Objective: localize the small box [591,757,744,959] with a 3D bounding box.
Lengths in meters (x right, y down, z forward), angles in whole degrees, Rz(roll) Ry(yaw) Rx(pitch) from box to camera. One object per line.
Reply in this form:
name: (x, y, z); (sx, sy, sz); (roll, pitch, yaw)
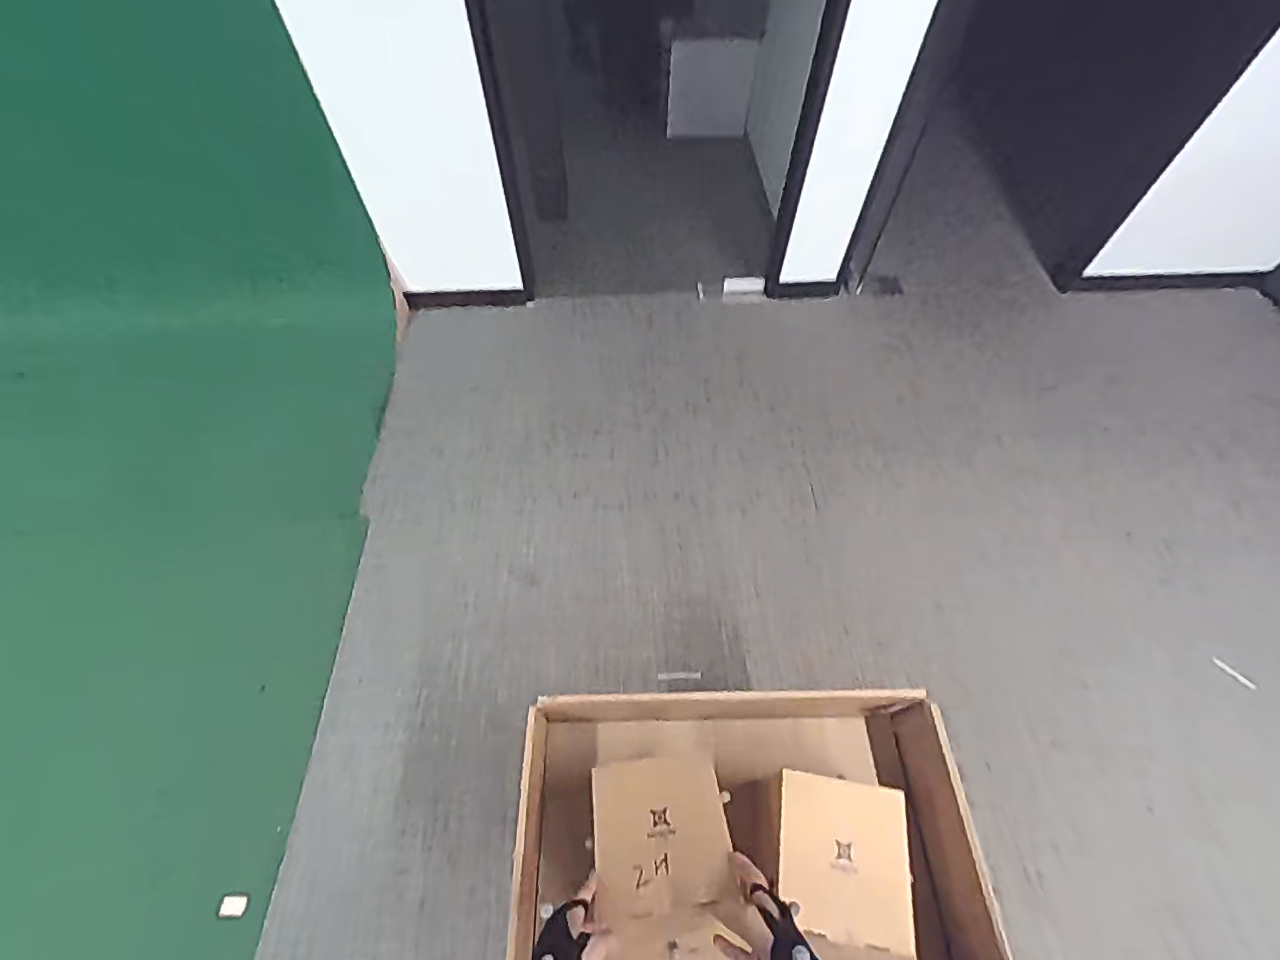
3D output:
small box: (0.030, 0.499, 0.700); (0.168, 0.176, 0.179); (-8, 33, -4)
